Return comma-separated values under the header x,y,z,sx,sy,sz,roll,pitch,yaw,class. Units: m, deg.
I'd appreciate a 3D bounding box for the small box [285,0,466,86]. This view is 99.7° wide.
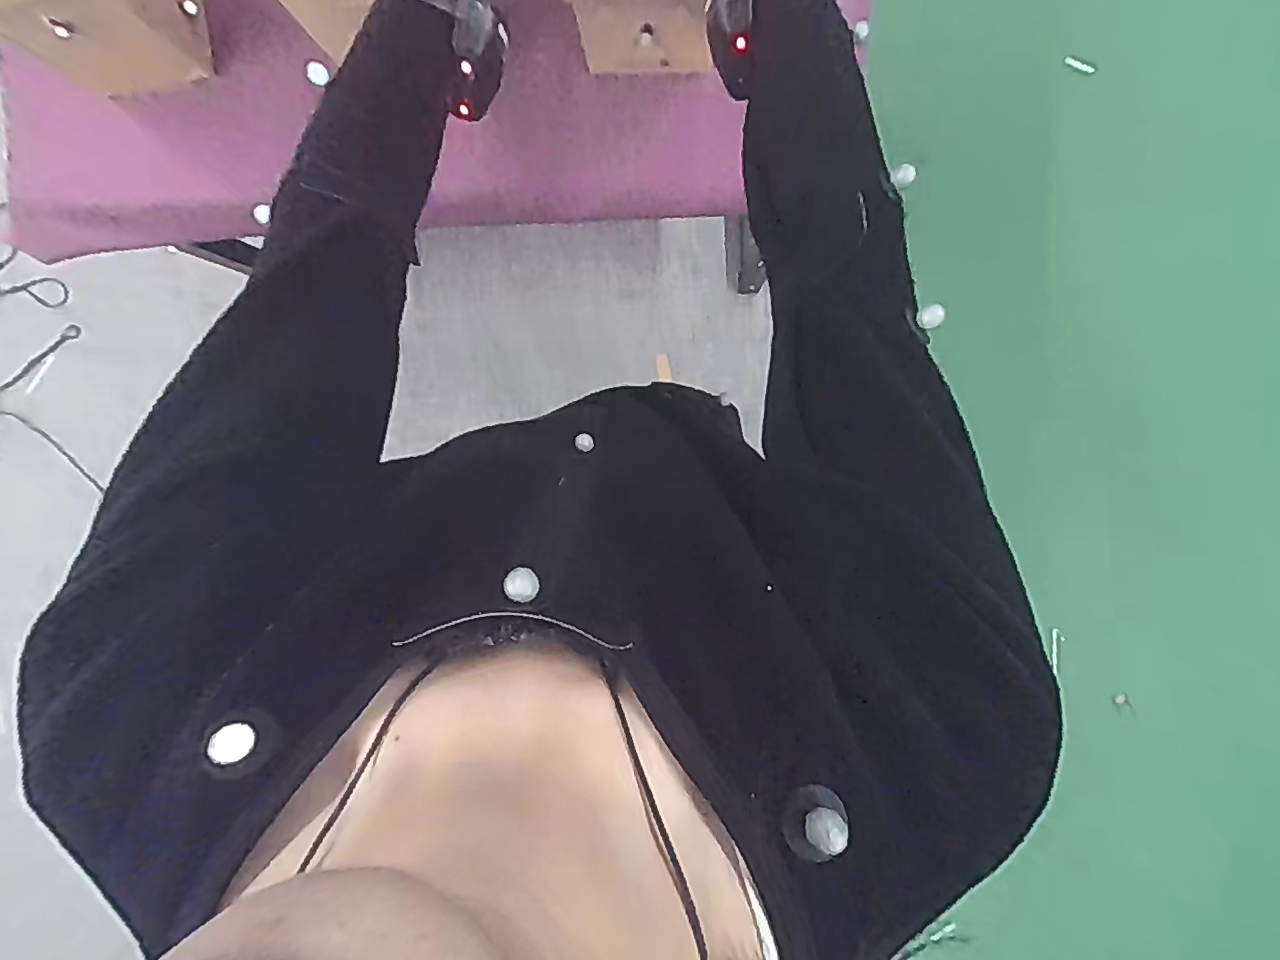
x,y,z,sx,sy,sz,roll,pitch,yaw,class
-0.320,-0.621,0.653,0.168,0.176,0.179,0,96,3,small box

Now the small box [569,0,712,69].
x,y,z,sx,sy,sz,roll,pitch,yaw,class
0.006,-0.623,0.636,0.168,0.176,0.179,2,96,3,small box

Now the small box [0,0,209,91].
x,y,z,sx,sy,sz,roll,pitch,yaw,class
-0.697,-0.624,0.673,0.179,0.176,0.168,-6,96,3,small box
